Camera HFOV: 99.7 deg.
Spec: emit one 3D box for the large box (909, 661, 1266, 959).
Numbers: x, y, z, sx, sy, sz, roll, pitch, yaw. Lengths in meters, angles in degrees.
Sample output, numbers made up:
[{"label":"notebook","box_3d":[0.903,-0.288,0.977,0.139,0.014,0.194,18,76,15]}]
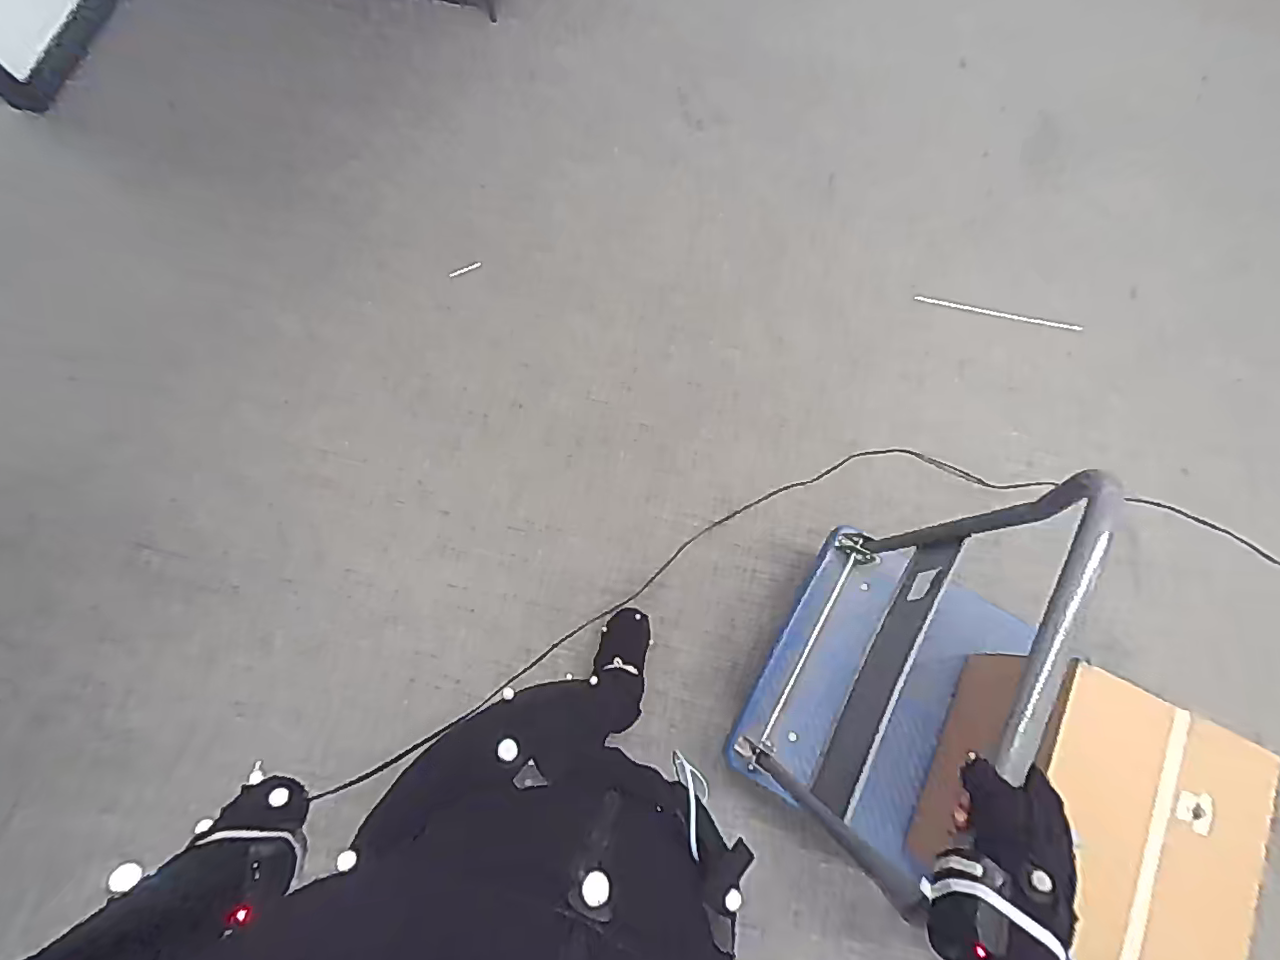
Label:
[{"label":"large box","box_3d":[0.732,0.569,0.932,0.320,0.320,0.408,26,74,7]}]
